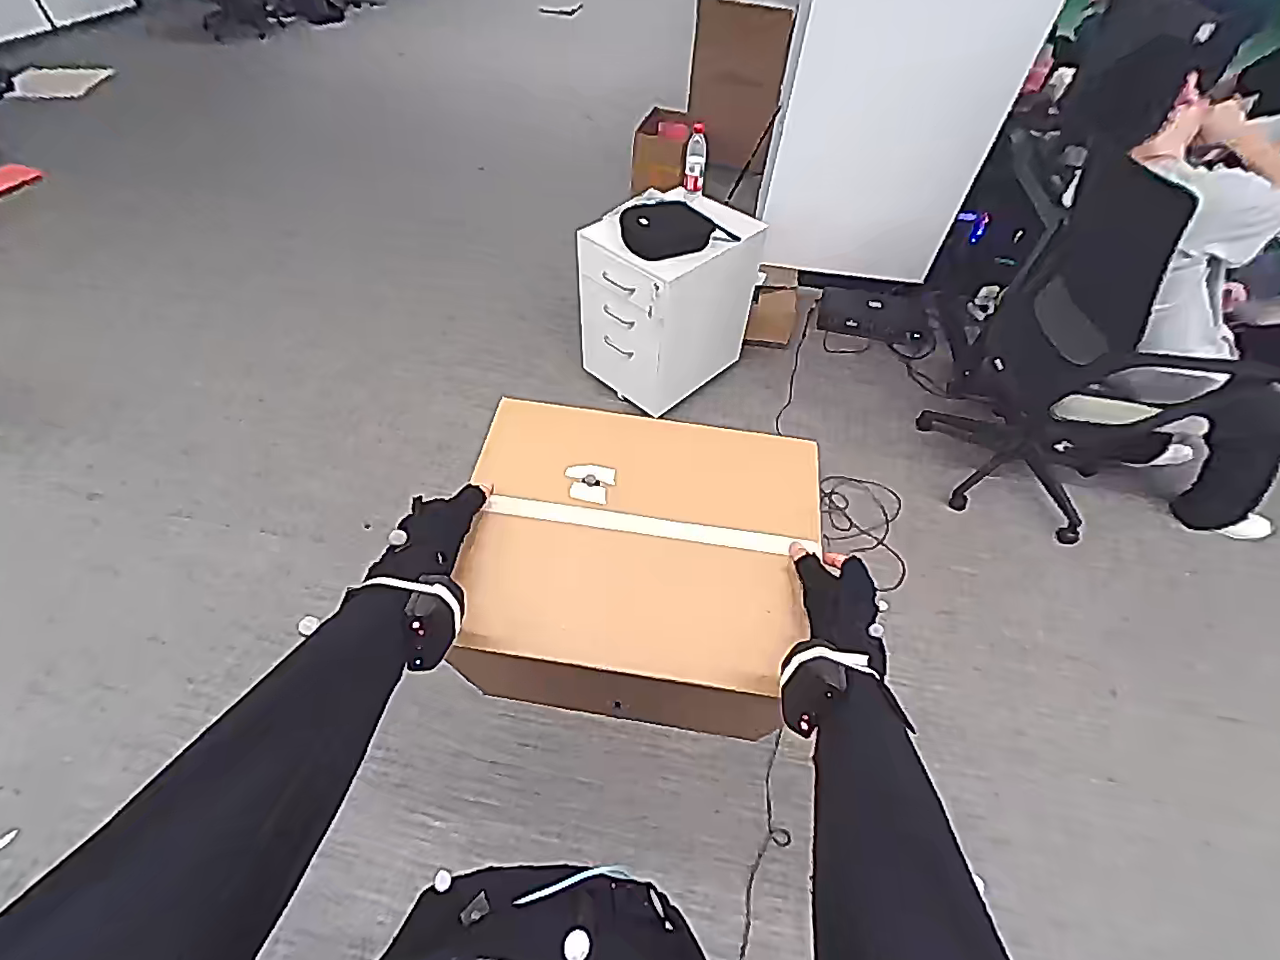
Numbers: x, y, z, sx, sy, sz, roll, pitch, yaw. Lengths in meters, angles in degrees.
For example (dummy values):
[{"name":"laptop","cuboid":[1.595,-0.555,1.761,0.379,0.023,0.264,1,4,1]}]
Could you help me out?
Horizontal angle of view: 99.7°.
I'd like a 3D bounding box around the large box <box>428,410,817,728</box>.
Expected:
[{"name":"large box","cuboid":[-0.004,0.138,0.744,0.408,0.320,0.320,8,58,3]}]
